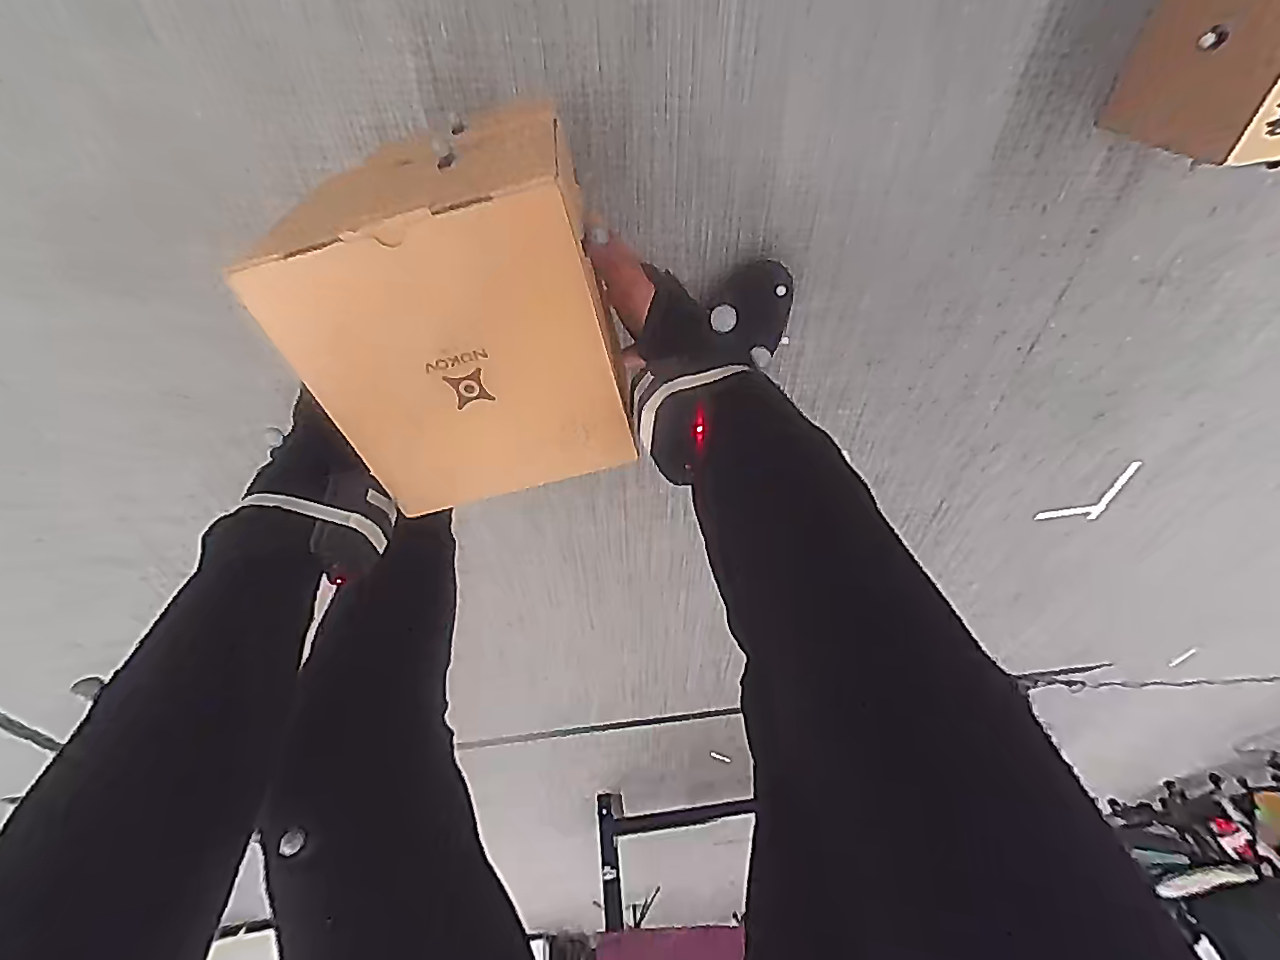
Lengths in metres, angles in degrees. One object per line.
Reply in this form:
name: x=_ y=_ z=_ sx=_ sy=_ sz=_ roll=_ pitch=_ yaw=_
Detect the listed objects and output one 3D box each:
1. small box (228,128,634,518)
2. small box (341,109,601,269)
small box: x=-0.105 y=-0.106 z=0.362 sx=0.168 sy=0.176 sz=0.179 roll=-13 pitch=131 yaw=3
small box: x=-0.127 y=-0.210 z=0.486 sx=0.168 sy=0.176 sz=0.179 roll=-14 pitch=132 yaw=4
